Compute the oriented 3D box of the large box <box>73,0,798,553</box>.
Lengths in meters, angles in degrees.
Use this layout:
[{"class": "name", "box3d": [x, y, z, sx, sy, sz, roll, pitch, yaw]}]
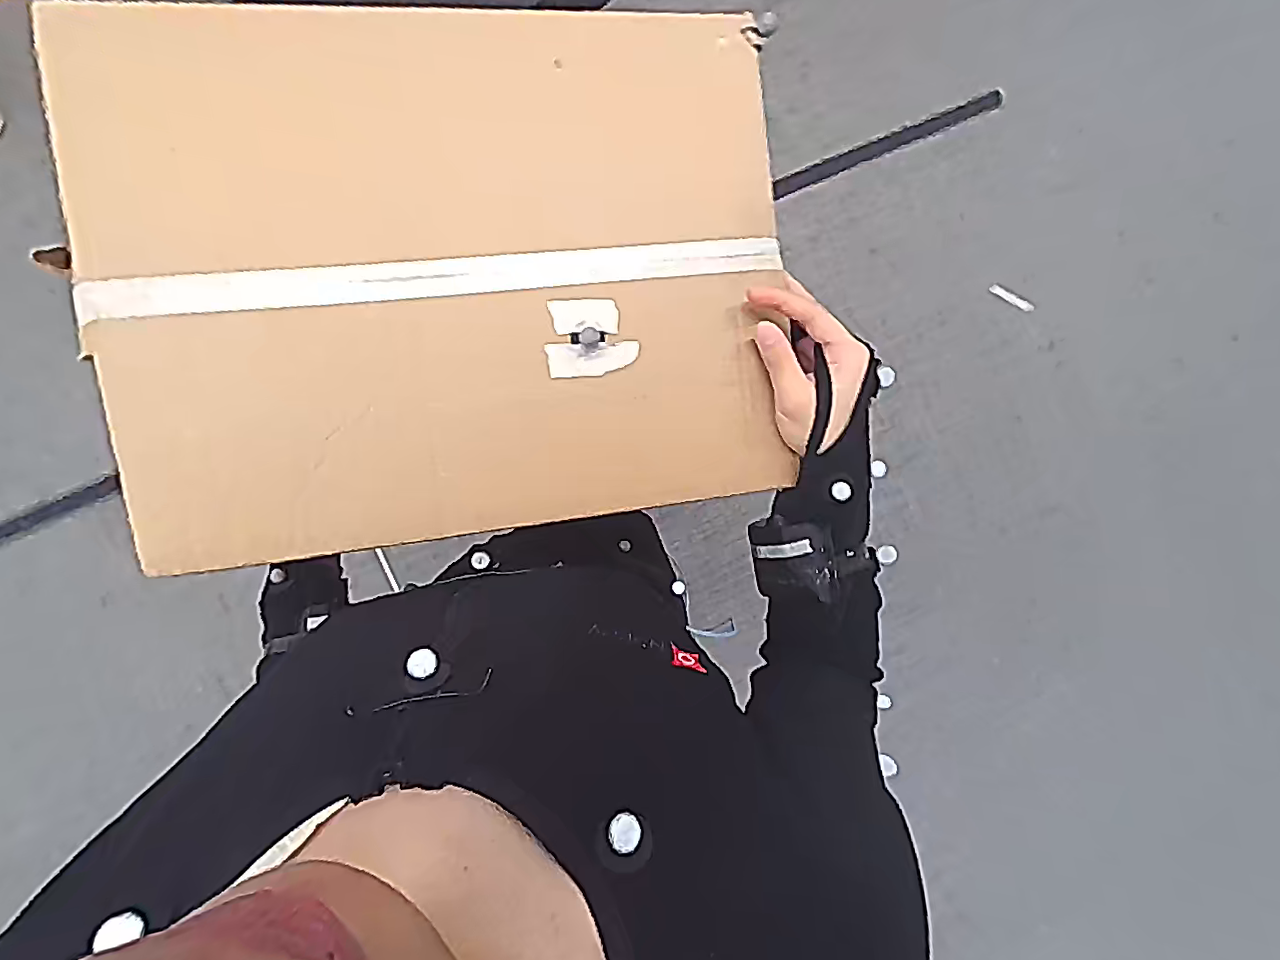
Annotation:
[{"class": "large box", "box3d": [-0.128, -0.141, 0.484, 0.408, 0.320, 0.320, -7, 95, -12]}]
